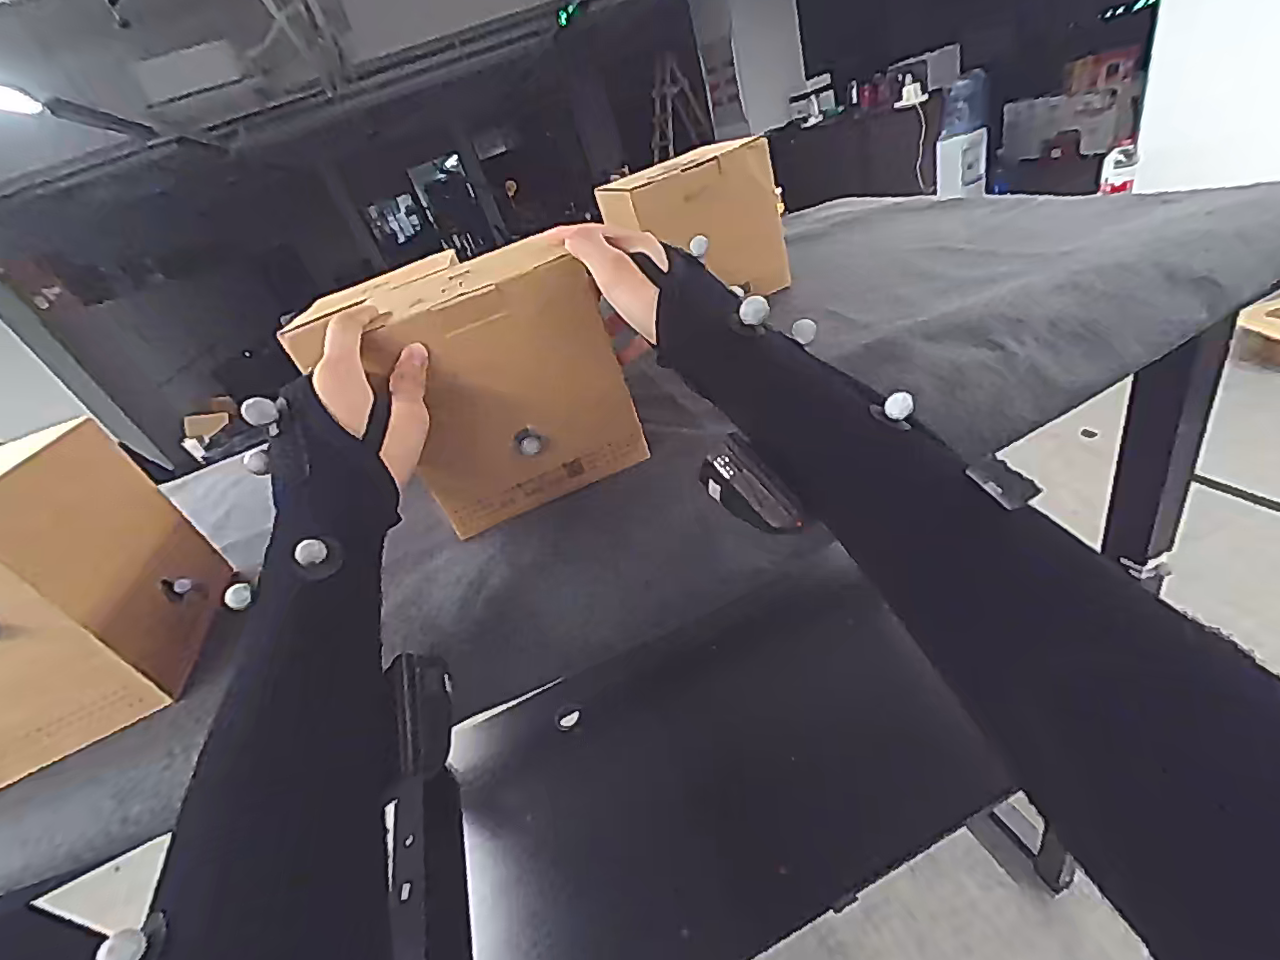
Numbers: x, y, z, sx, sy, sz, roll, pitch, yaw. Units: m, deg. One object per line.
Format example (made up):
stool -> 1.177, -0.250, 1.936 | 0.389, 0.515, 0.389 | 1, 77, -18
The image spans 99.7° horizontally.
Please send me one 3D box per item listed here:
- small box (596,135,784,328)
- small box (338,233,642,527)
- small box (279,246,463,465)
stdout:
small box -> 0.064, -0.310, 0.687 | 0.168, 0.176, 0.179 | -24, 32, -5
small box -> -0.115, -0.091, 0.456 | 0.168, 0.176, 0.179 | -24, 32, -6
small box -> -0.258, -0.146, 0.624 | 0.179, 0.176, 0.168 | -23, 32, -3
